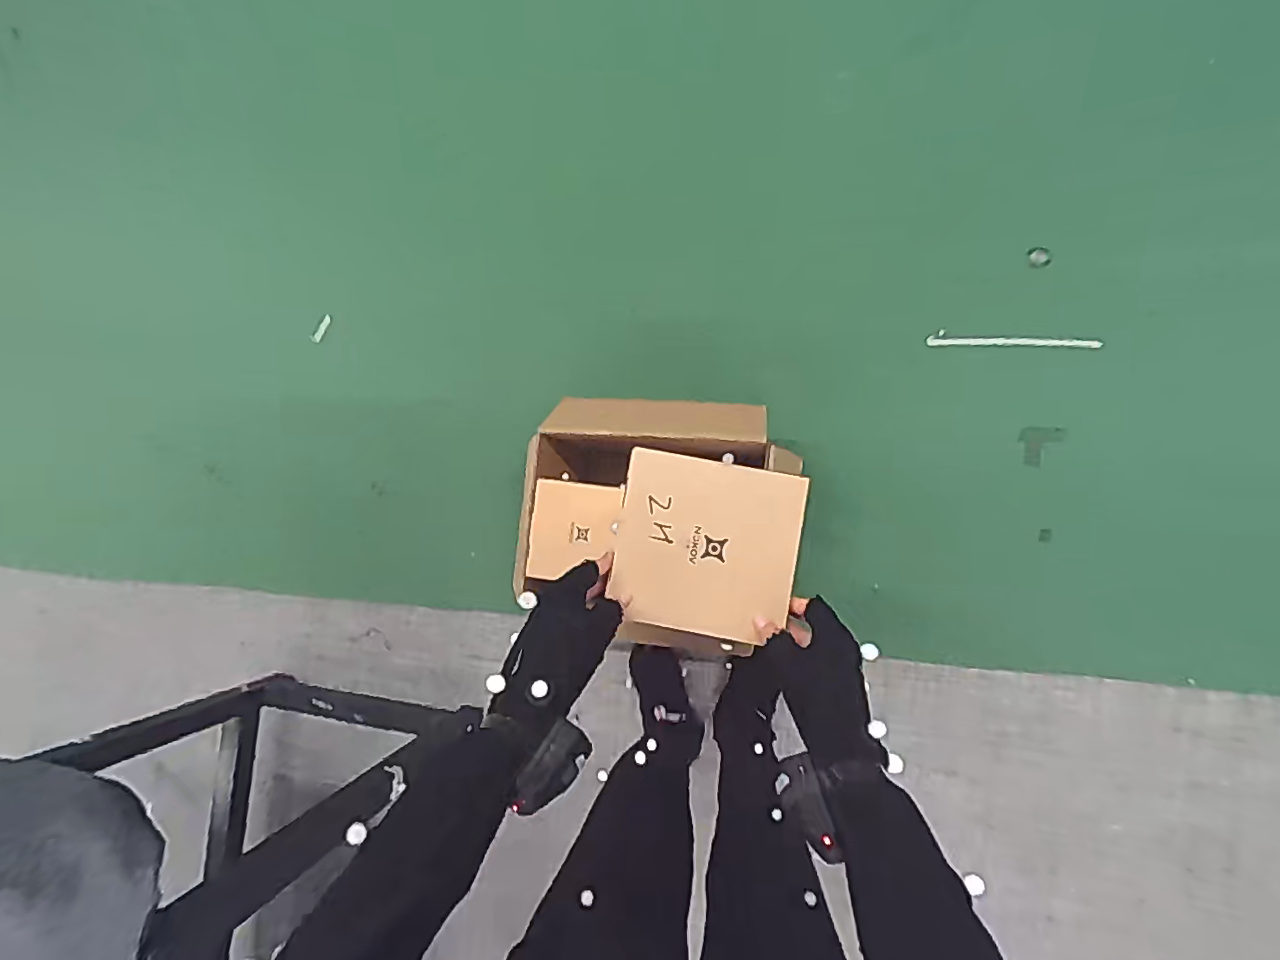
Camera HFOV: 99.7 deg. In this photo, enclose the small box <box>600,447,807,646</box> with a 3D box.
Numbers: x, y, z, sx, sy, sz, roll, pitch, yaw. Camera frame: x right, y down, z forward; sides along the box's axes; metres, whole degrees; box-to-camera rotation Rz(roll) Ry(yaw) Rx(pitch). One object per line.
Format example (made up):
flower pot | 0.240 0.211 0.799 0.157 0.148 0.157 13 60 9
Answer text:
small box | 0.064 0.069 0.598 0.179 0.176 0.168 11 85 3
